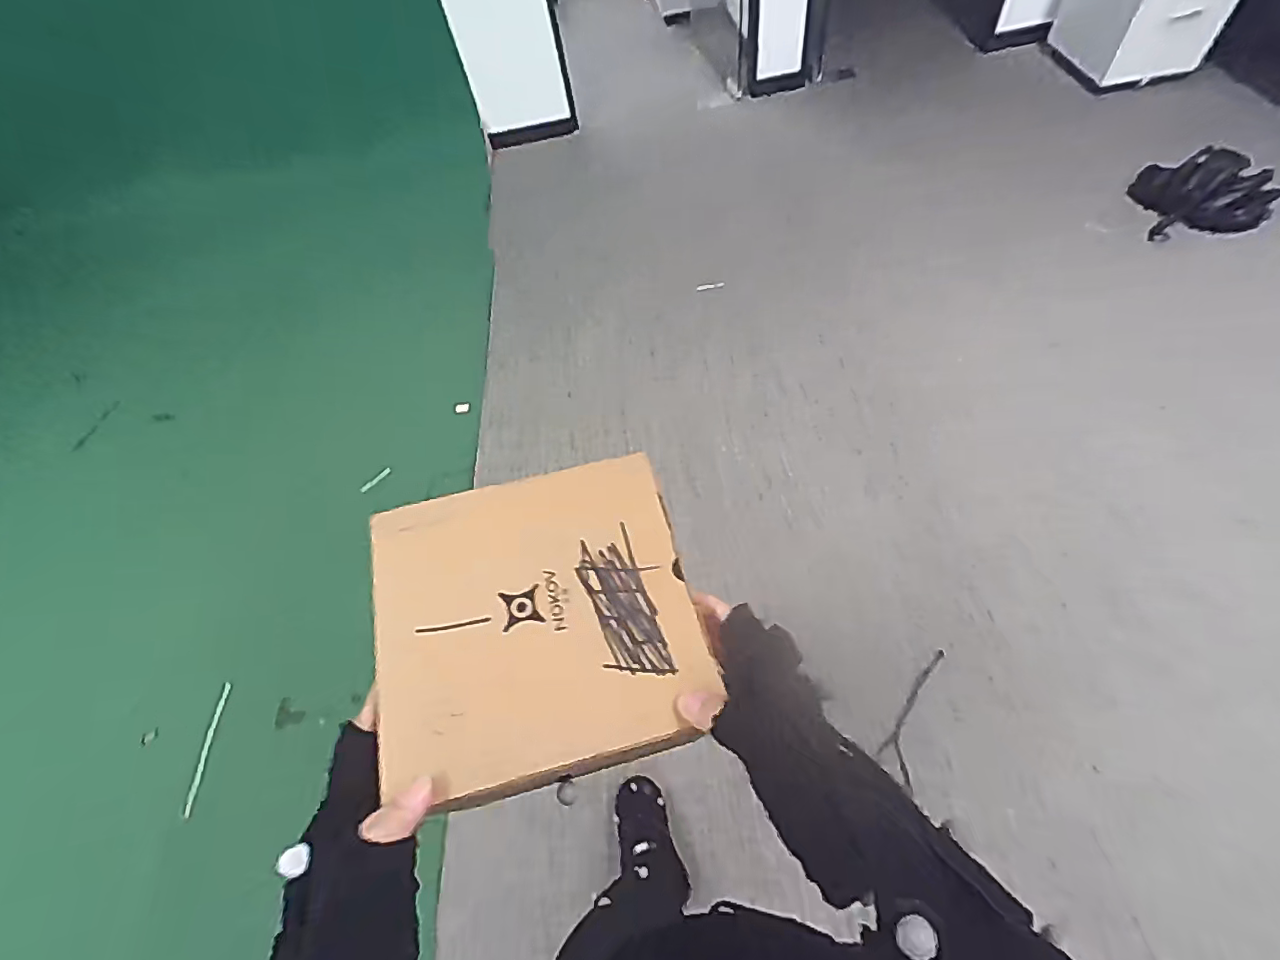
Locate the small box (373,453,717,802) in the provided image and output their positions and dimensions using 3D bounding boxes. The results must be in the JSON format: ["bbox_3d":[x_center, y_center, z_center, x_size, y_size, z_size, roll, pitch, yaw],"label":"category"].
[{"bbox_3d":[-0.063,0.107,0.378,0.179,0.176,0.168,-13,61,-7],"label":"small box"}]
